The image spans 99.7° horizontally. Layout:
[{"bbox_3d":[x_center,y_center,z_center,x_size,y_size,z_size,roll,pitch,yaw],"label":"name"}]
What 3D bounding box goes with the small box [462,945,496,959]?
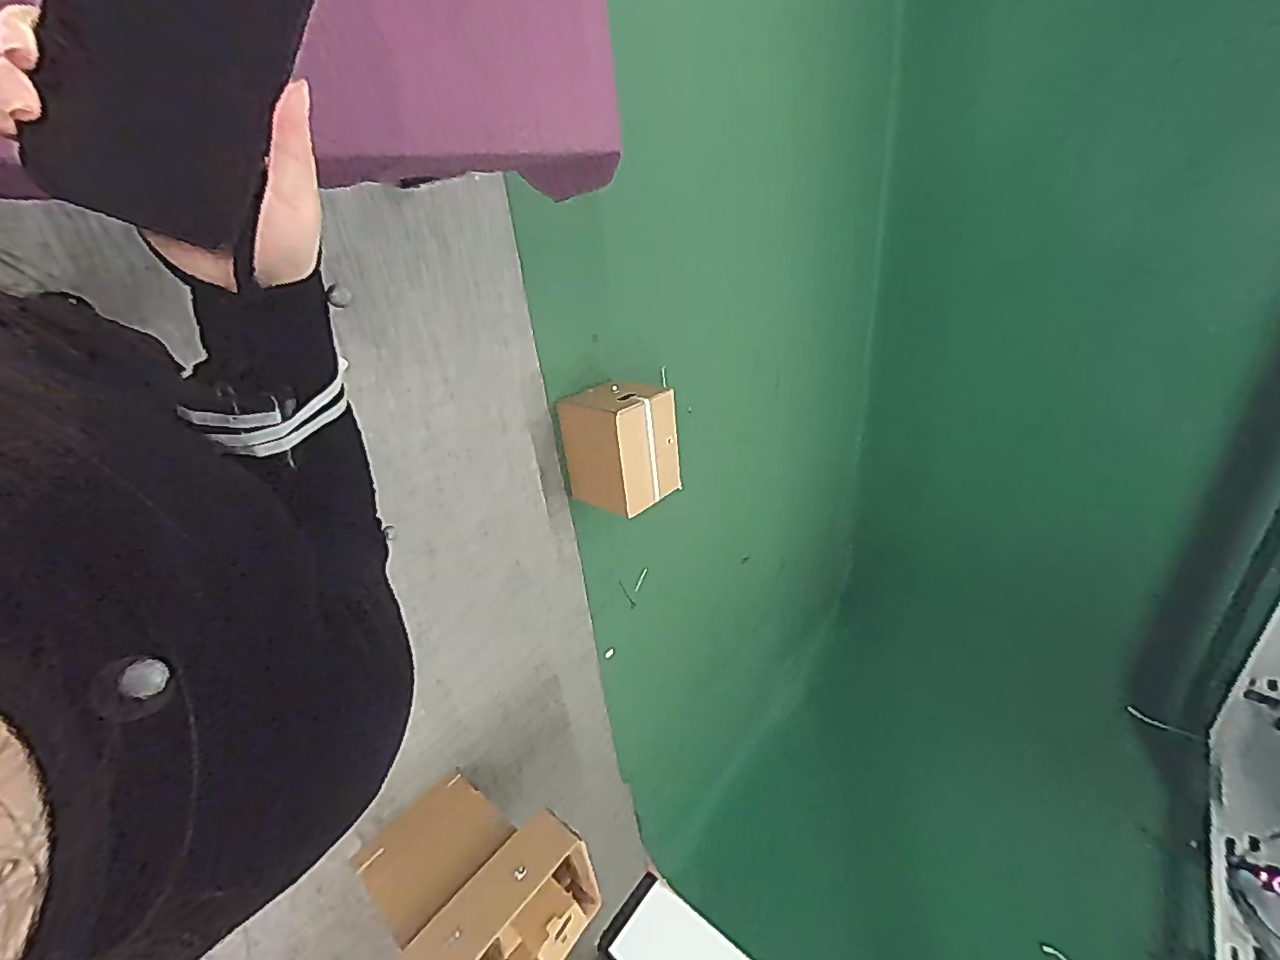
[{"bbox_3d":[-0.466,1.487,1.536,0.168,0.176,0.179,-25,120,-42],"label":"small box"}]
